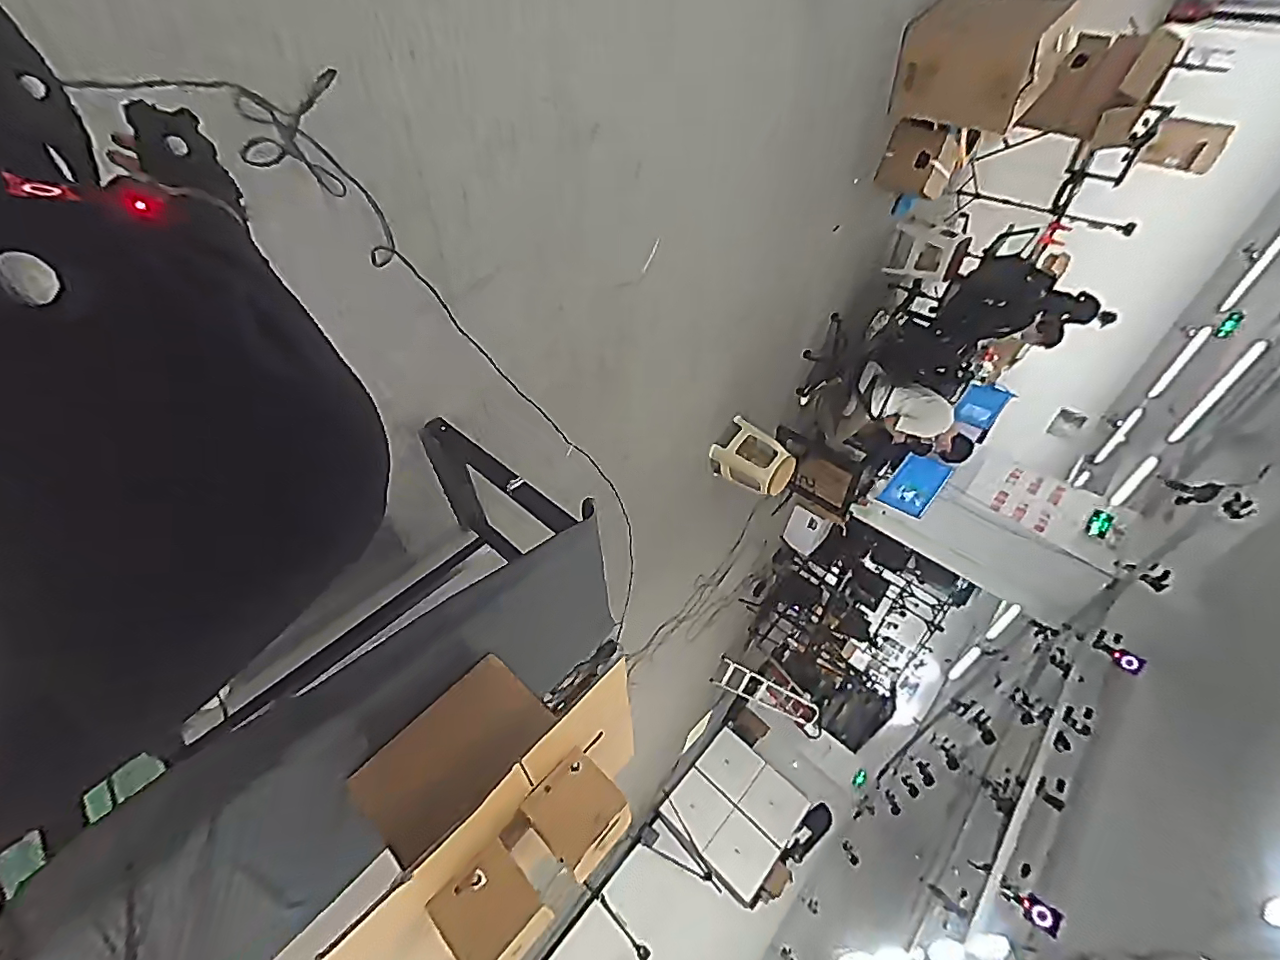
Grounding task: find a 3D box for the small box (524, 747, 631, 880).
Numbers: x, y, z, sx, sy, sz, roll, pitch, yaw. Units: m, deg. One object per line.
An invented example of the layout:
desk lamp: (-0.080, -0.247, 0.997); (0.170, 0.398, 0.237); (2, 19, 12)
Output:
small box: (-0.137, 0.731, 1.198); (0.168, 0.176, 0.179); (-37, 146, -31)
